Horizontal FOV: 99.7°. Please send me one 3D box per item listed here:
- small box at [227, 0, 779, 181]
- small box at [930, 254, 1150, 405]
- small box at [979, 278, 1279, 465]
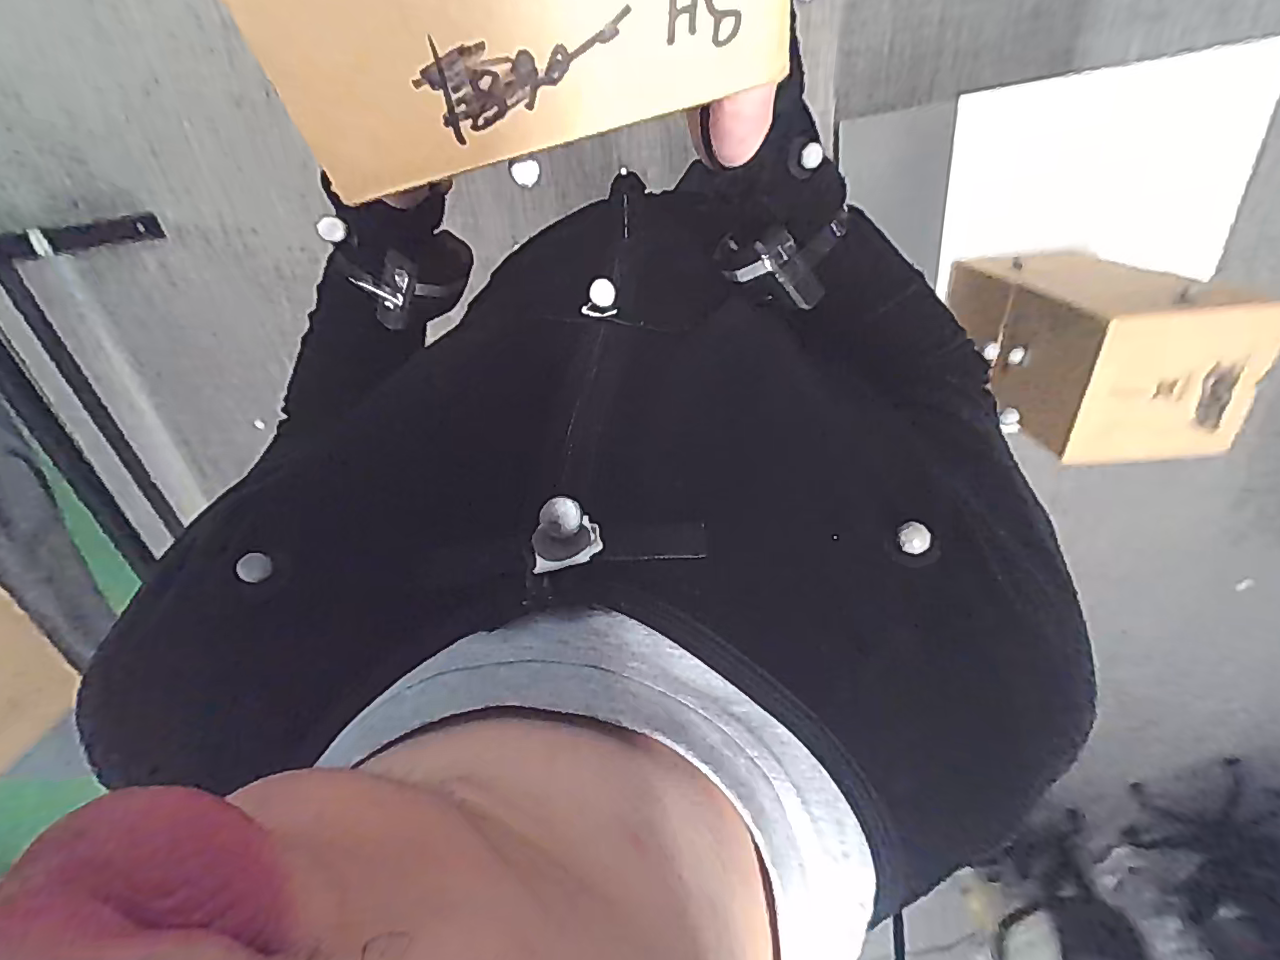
[{"bbox_3d":[-0.060,-0.239,0.190,0.168,0.176,0.179,-14,133,5],"label":"small box"},{"bbox_3d":[0.548,-0.219,0.776,0.179,0.176,0.168,-5,122,3],"label":"small box"},{"bbox_3d":[0.546,-0.133,0.637,0.179,0.176,0.168,-3,121,4],"label":"small box"}]
